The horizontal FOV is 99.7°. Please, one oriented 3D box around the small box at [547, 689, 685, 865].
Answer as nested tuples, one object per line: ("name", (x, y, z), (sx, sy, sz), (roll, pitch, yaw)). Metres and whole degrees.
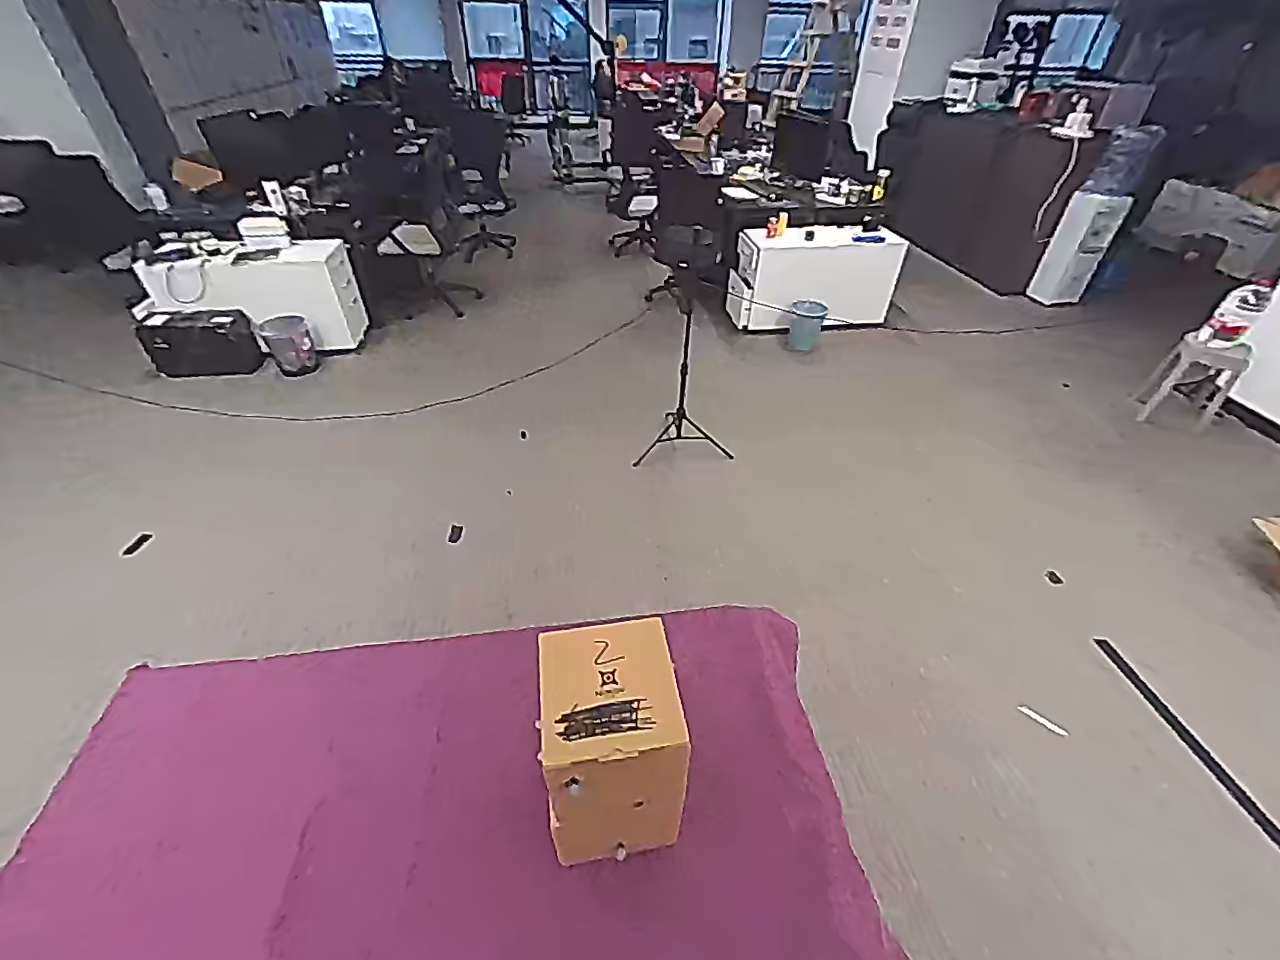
("small box", (-0.042, 0.437, 0.798), (0.179, 0.176, 0.168), (-6, 40, -9))
